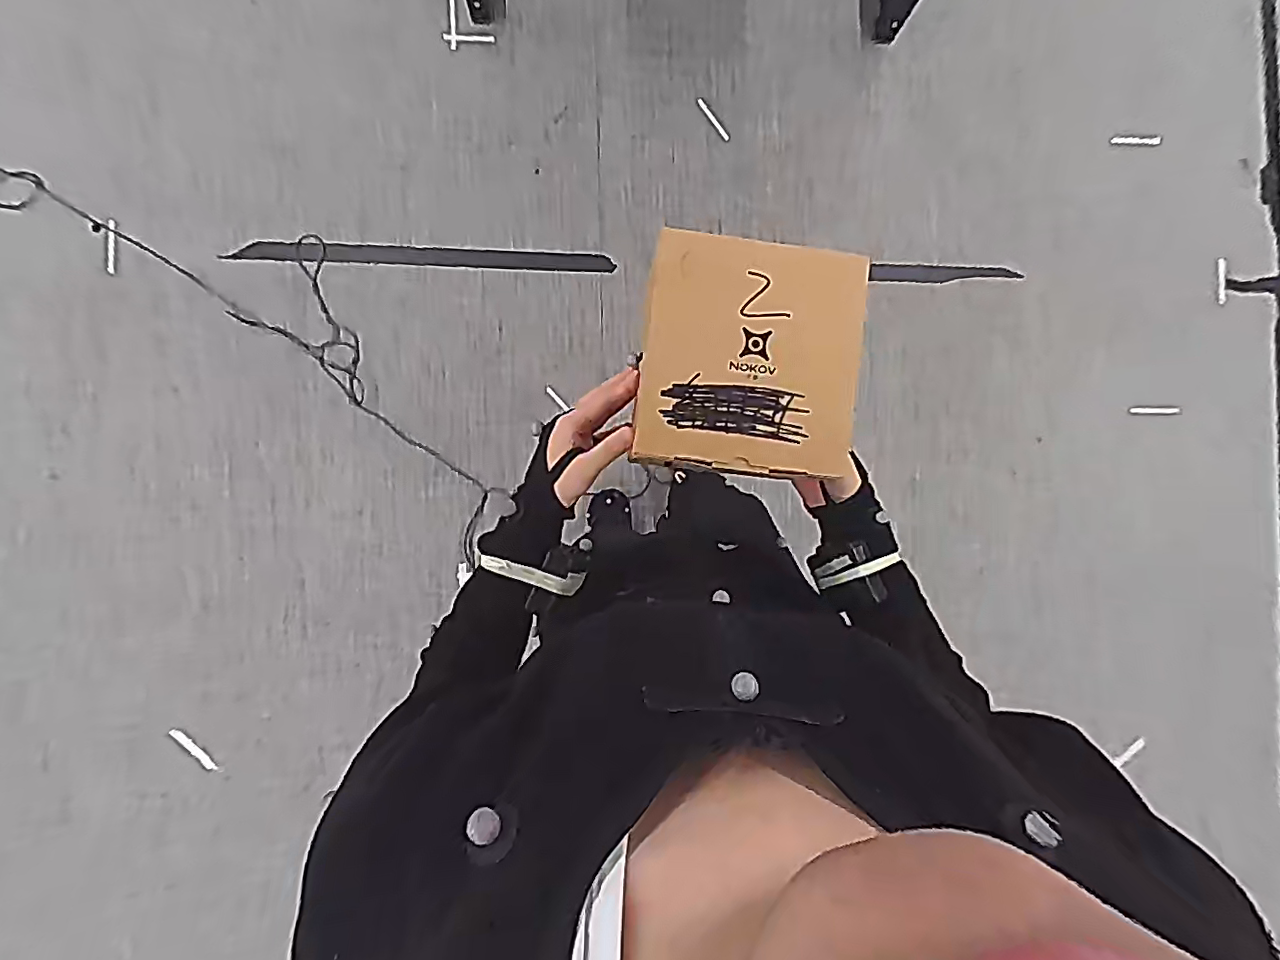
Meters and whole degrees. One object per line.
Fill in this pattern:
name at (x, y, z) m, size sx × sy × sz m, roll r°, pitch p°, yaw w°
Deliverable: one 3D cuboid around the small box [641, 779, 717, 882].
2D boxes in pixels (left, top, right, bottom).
small box at (0.095, 0.898, 1.398) m, size 0.179 × 0.176 × 0.168 m, roll 1°, pitch 89°, yaw -6°
